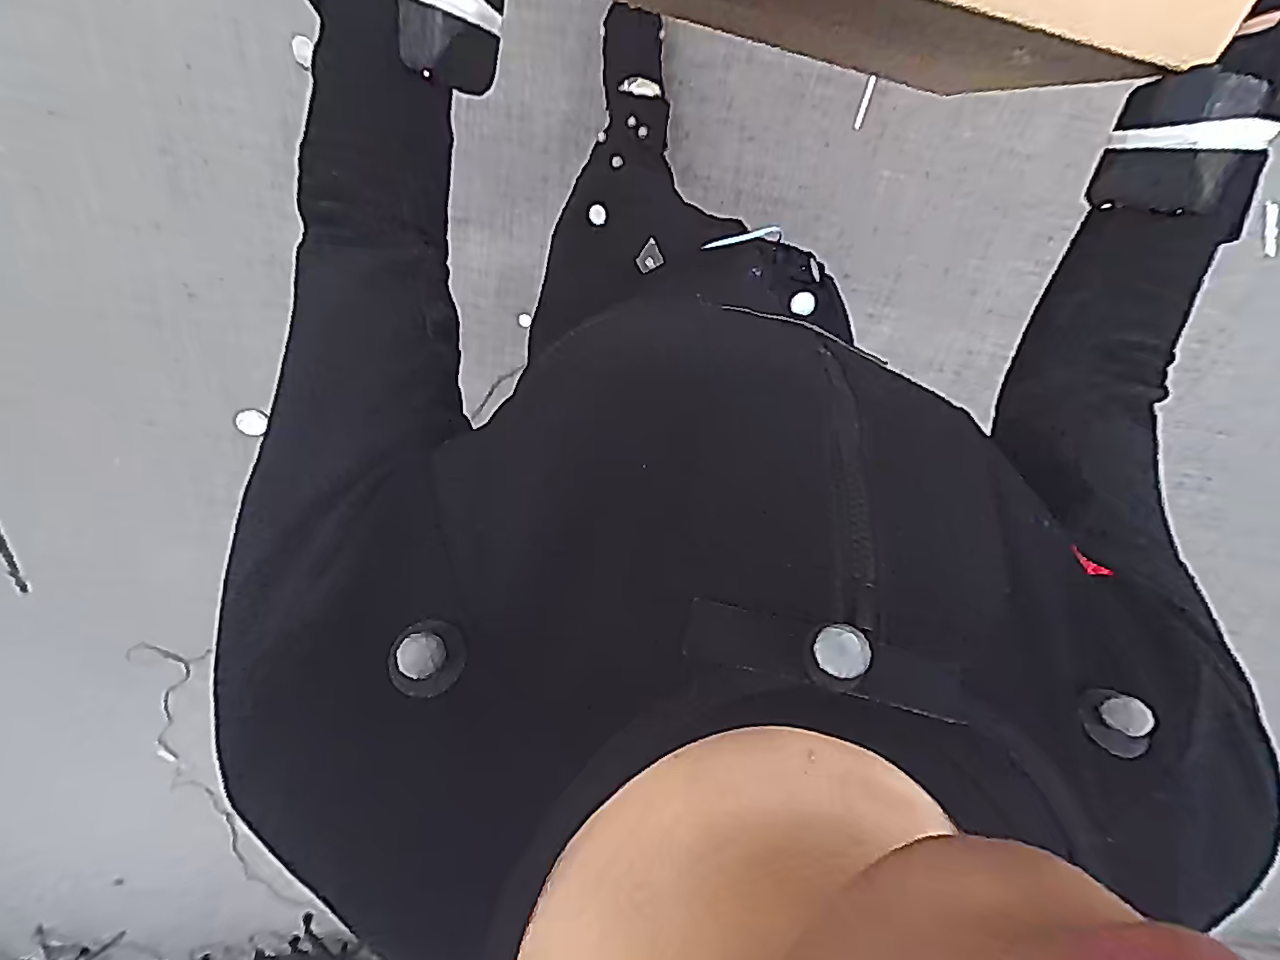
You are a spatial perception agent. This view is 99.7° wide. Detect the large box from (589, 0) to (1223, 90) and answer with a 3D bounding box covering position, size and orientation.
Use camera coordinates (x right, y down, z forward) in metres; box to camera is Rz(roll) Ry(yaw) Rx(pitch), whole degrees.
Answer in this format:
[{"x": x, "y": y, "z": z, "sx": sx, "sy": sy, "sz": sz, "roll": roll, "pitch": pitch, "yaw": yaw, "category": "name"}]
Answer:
[{"x": 0.140, "y": -0.470, "z": 0.324, "sx": 0.408, "sy": 0.320, "sz": 0.320, "roll": 11, "pitch": 125, "yaw": -6, "category": "large box"}]
